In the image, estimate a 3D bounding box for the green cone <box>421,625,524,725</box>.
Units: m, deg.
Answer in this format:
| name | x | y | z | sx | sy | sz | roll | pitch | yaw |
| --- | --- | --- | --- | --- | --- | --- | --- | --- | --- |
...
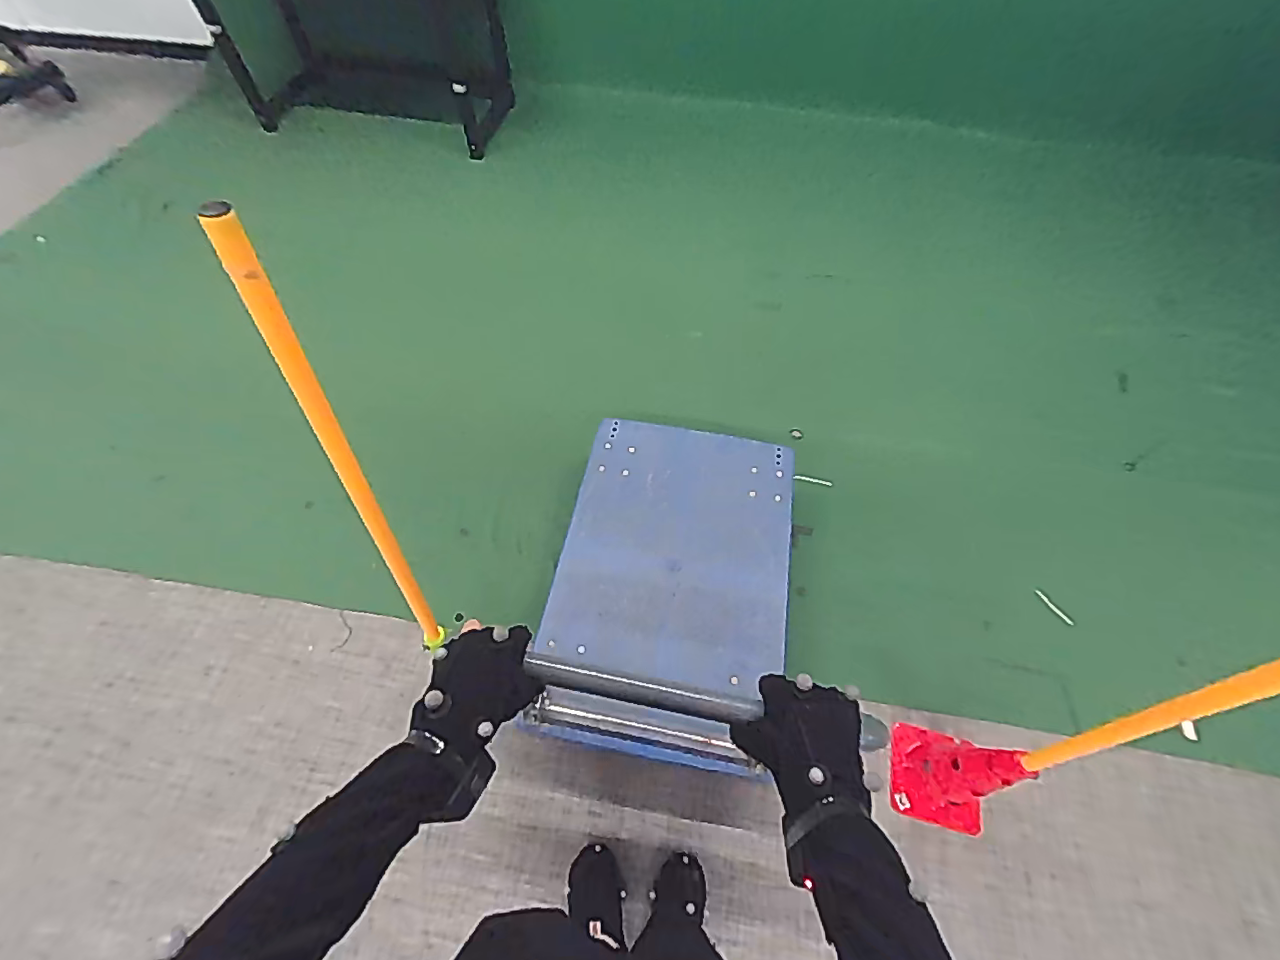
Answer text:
| name | x | y | z | sx | sy | sz | roll | pitch | yaw |
| --- | --- | --- | --- | --- | --- | --- | --- | --- | --- |
| green cone | -0.418 | 0.408 | 1.241 | 0.202 | 0.368 | 0.200 | 13 | 57 | 8 |
